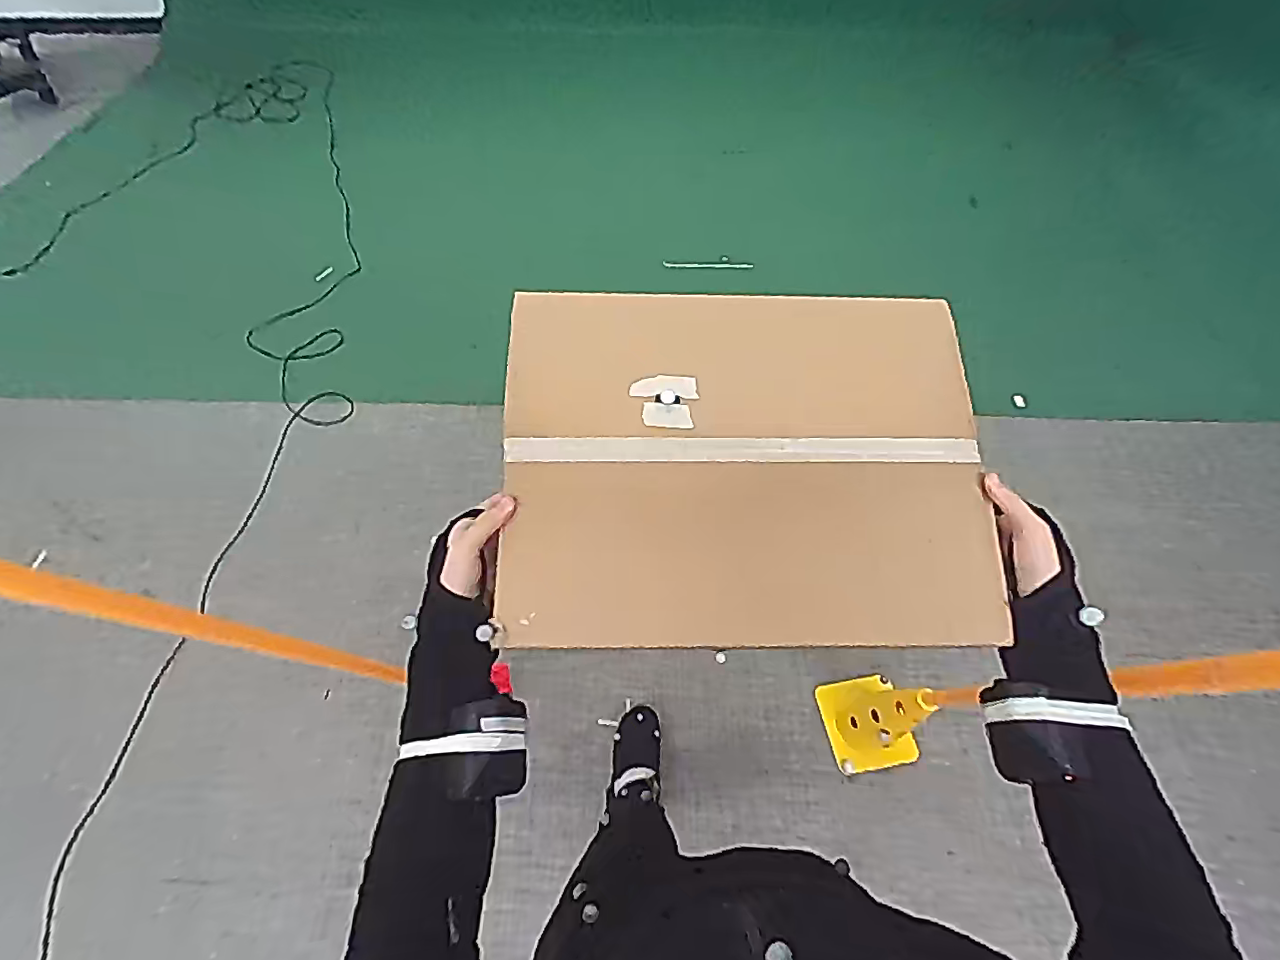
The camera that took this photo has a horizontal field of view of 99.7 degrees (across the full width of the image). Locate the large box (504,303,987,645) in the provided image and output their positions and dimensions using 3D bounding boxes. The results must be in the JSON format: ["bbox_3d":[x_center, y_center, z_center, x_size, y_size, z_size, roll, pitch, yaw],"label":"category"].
[{"bbox_3d":[0.085,0.020,0.621,0.408,0.320,0.320,0,73,-1],"label":"large box"}]
